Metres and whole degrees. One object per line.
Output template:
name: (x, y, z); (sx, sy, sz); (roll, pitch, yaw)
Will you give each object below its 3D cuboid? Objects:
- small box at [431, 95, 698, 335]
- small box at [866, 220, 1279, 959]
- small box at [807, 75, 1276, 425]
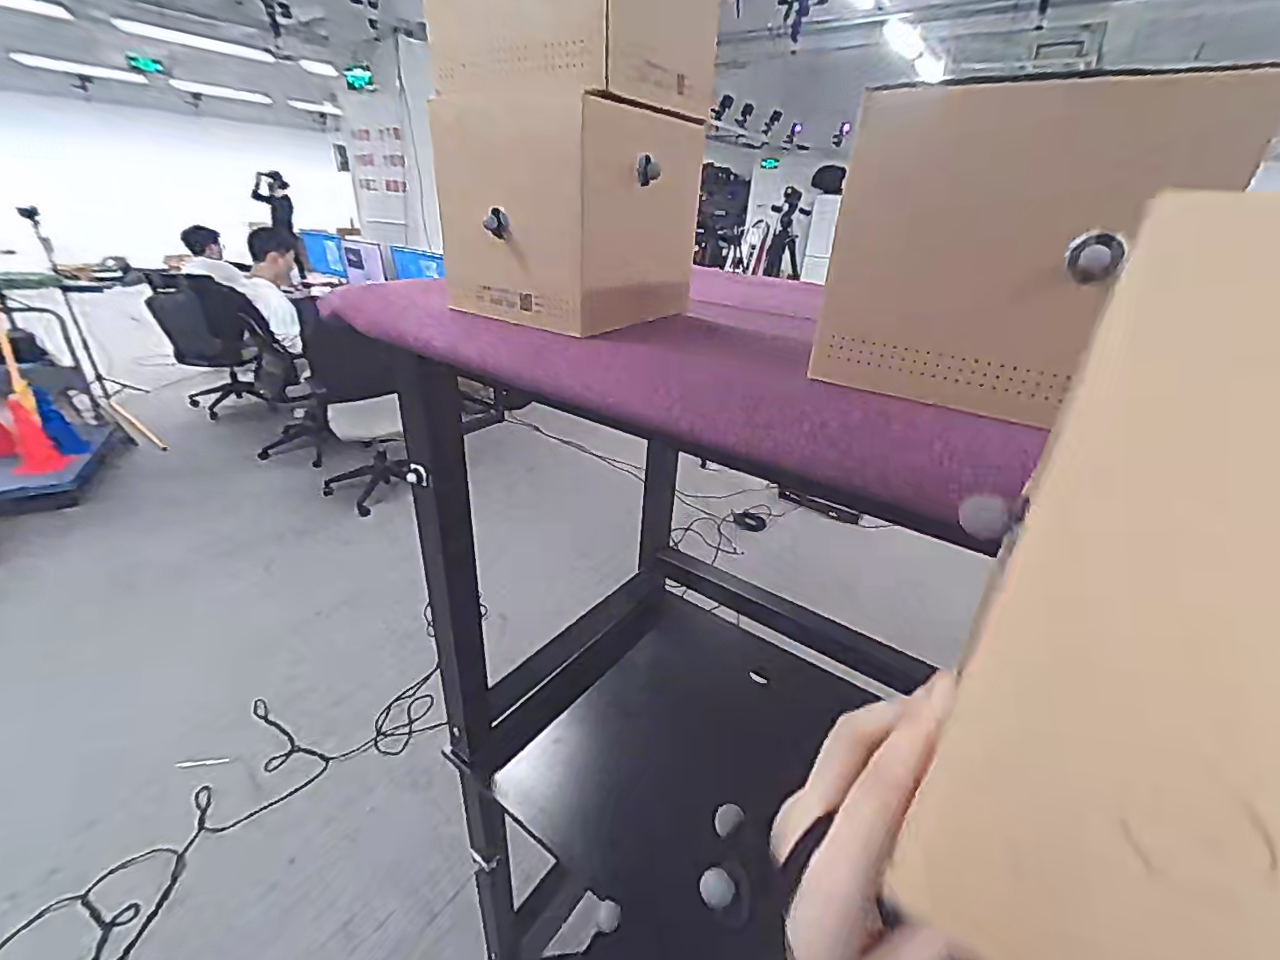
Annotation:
small box: (-0.063, -0.239, 0.504); (0.168, 0.176, 0.179); (20, 31, 28)
small box: (0.180, 0.065, 0.138); (0.179, 0.176, 0.168); (22, 77, 33)
small box: (0.232, -0.143, 0.358); (0.179, 0.176, 0.168); (19, 30, 29)
